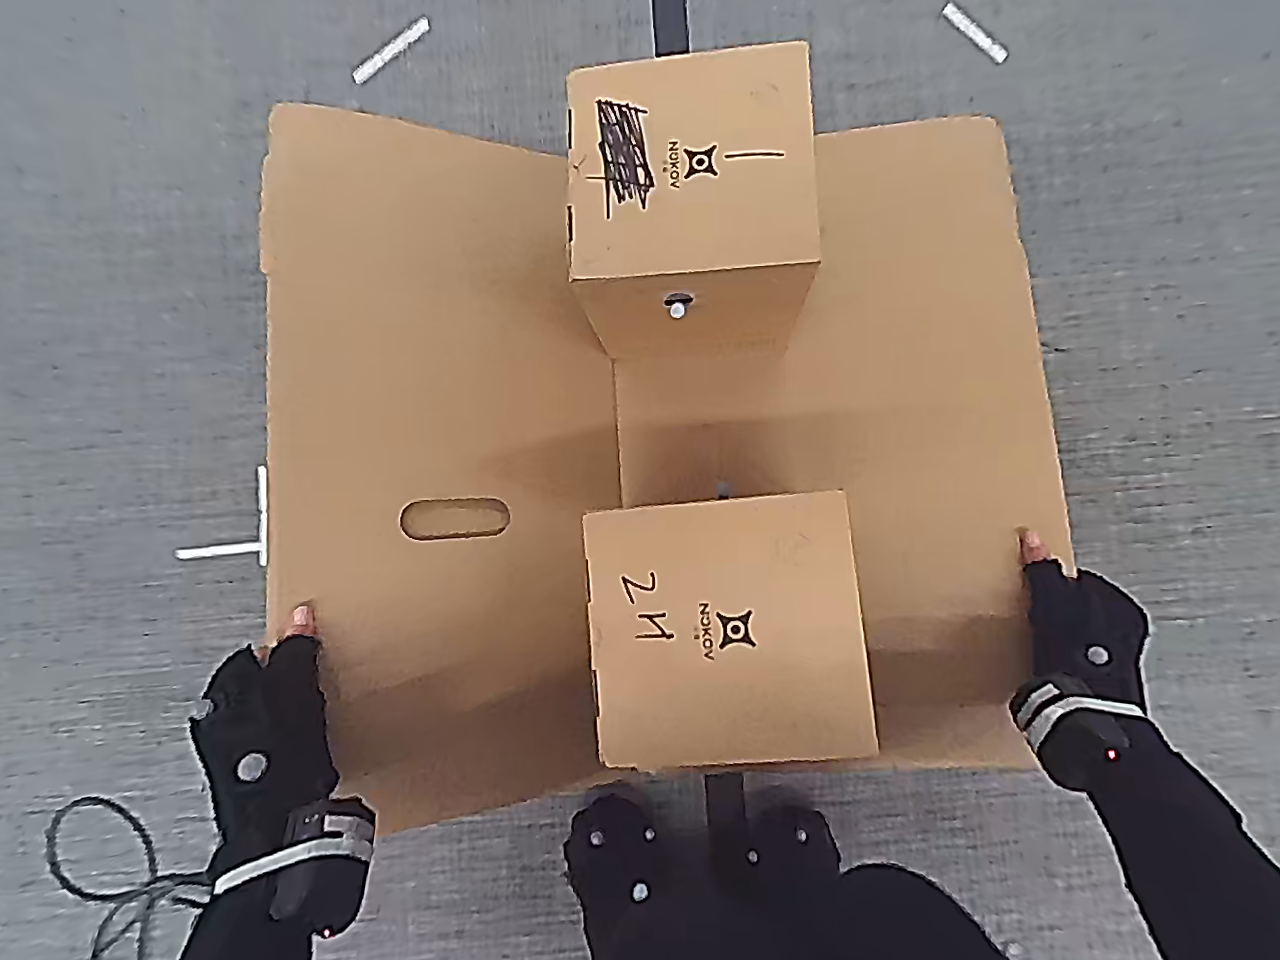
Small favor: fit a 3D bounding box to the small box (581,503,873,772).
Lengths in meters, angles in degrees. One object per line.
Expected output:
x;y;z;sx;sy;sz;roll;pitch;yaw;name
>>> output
0.061;0.107;0.425;0.179;0.176;0.168;-5;84;7;small box
